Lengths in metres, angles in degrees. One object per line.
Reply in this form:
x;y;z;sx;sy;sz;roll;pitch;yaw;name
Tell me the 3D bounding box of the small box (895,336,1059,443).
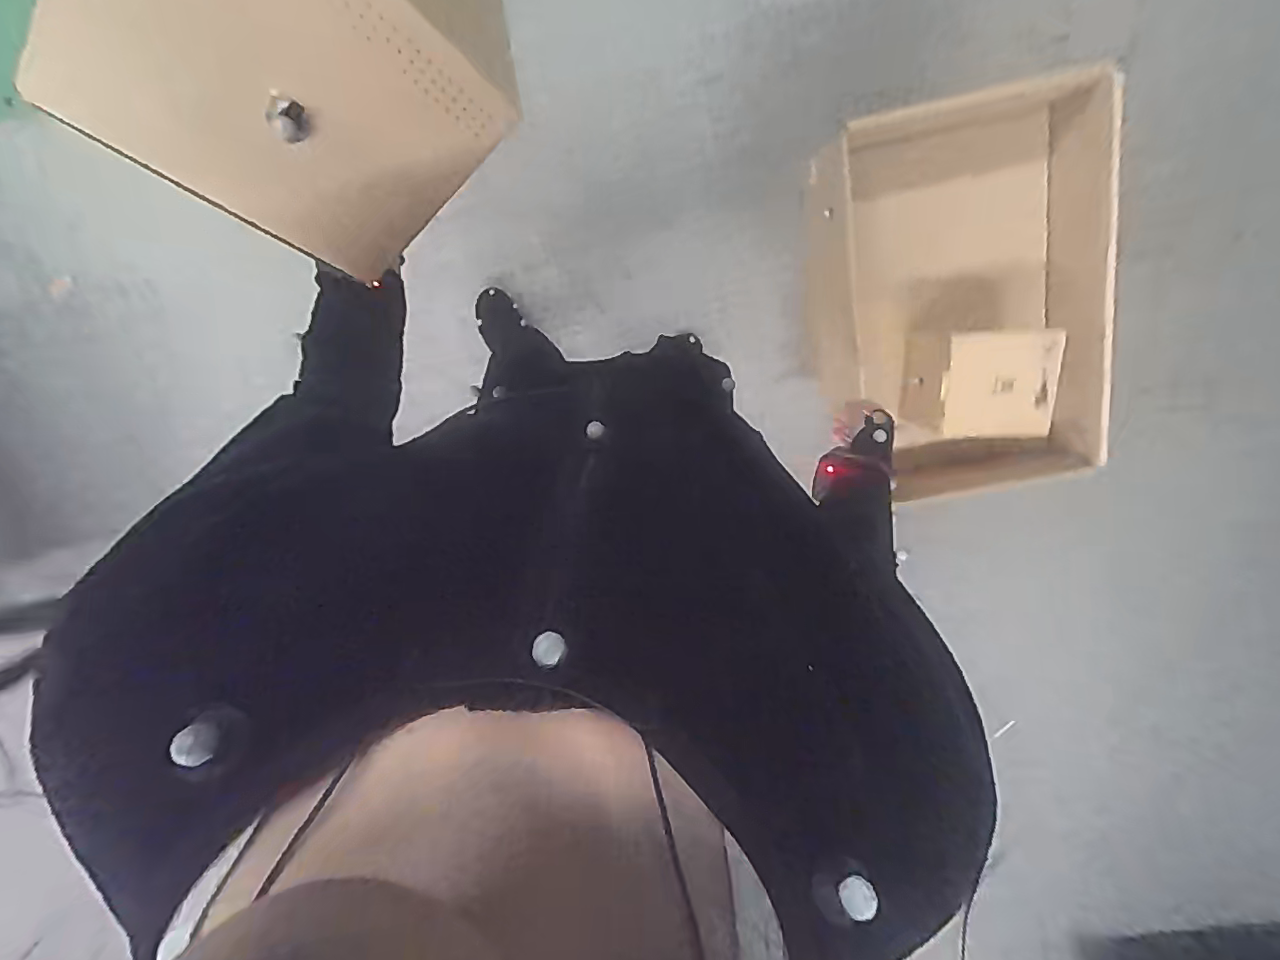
0.567;-0.162;0.938;0.179;0.176;0.168;0;106;2;small box
